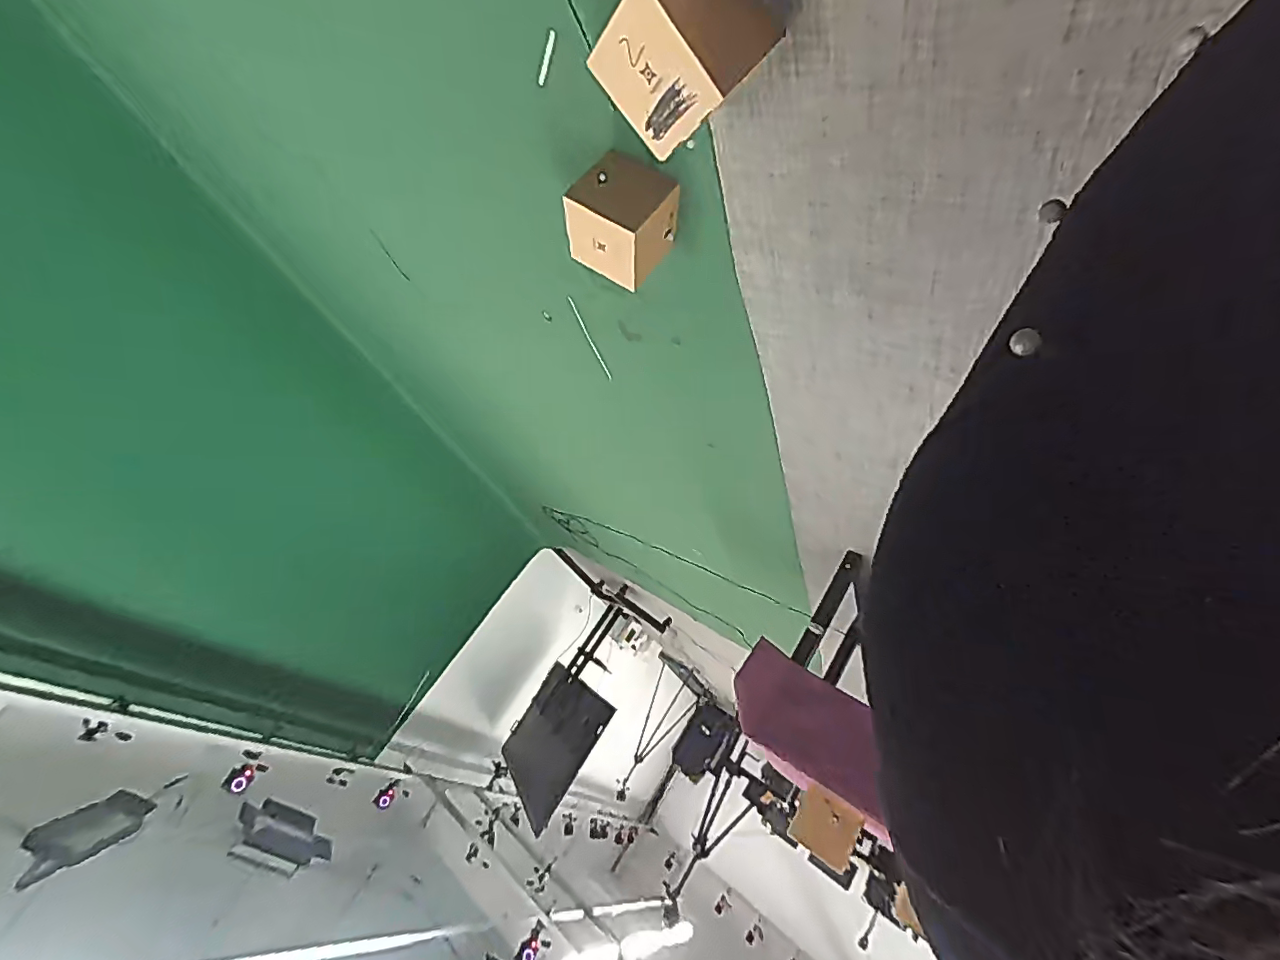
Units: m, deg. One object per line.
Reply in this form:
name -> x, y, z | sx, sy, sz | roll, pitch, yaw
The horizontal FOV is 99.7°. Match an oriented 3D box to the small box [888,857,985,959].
small box -> 0.778, 1.137, 1.423 | 0.179, 0.176, 0.168 | 23, 157, 32

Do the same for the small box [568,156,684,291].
small box -> -0.030, -0.548, 1.149 | 0.179, 0.176, 0.168 | 33, 161, 11

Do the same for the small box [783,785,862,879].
small box -> 0.544, 1.038, 1.604 | 0.168, 0.176, 0.179 | 24, 157, 32
